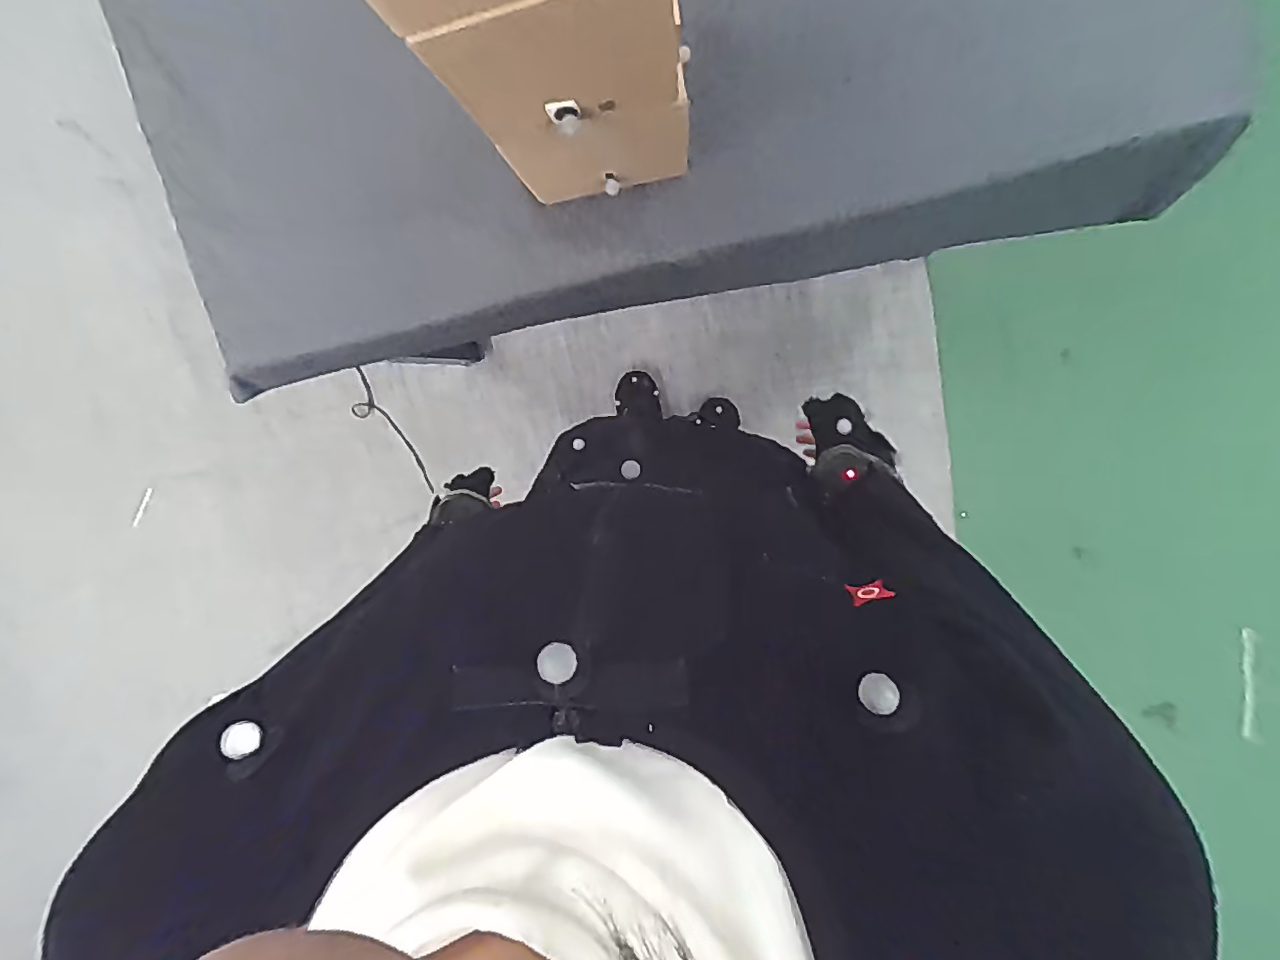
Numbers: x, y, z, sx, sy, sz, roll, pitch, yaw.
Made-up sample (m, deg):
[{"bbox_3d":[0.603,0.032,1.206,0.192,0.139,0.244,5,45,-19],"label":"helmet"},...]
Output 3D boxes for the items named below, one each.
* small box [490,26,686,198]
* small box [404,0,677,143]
[{"bbox_3d":[-0.054,-0.409,0.541,0.179,0.176,0.168,-10,99,6],"label":"small box"},{"bbox_3d":[-0.071,-0.381,0.381,0.168,0.176,0.179,-11,100,9],"label":"small box"}]
